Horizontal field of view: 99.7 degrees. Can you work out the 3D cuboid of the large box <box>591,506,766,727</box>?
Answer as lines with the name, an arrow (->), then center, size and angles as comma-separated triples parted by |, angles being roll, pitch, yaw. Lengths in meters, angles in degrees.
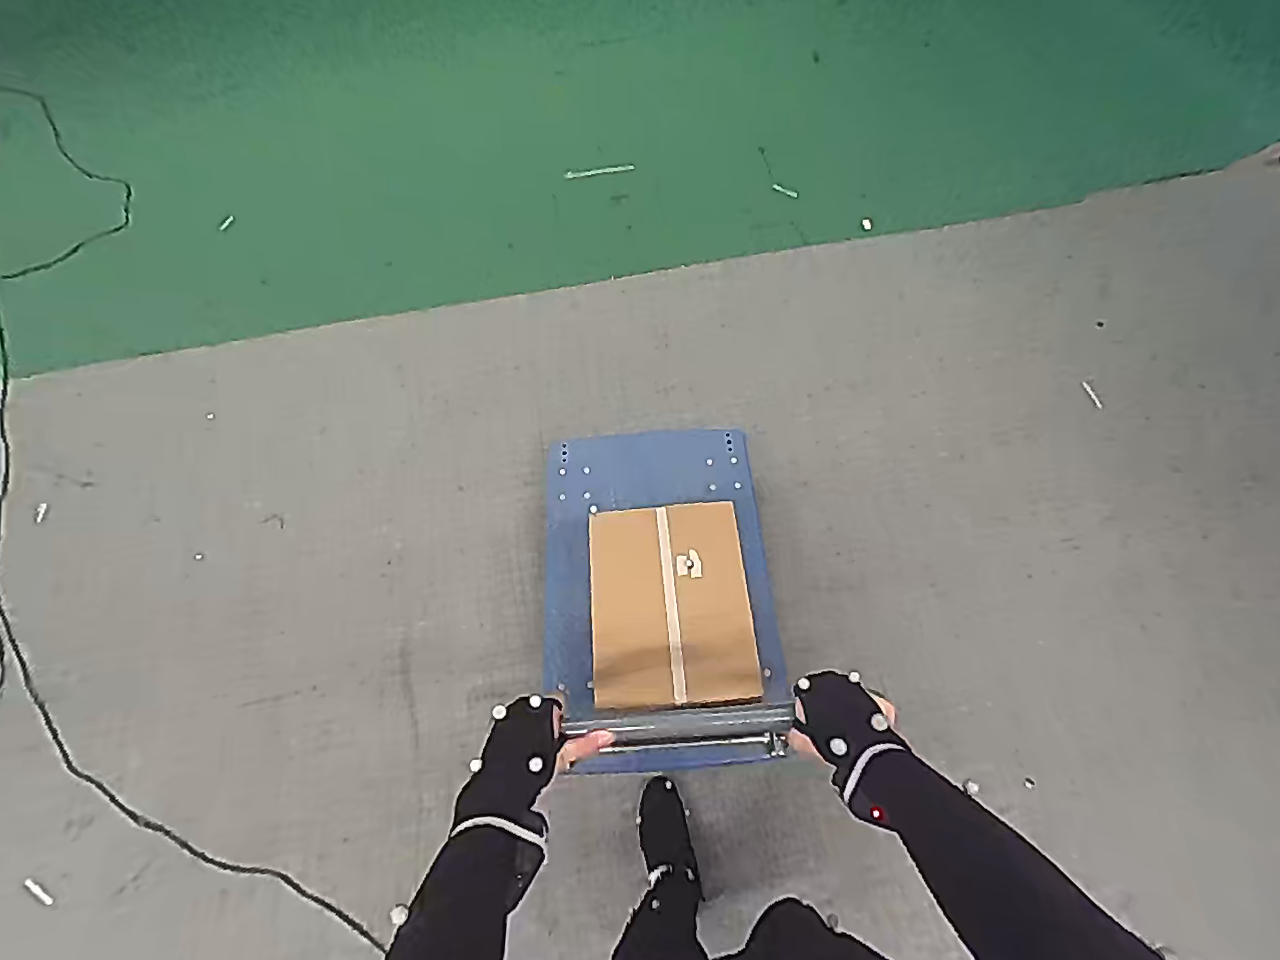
large box -> 0.070, 0.313, 1.208 | 0.320, 0.320, 0.408 | -4, 62, -1
